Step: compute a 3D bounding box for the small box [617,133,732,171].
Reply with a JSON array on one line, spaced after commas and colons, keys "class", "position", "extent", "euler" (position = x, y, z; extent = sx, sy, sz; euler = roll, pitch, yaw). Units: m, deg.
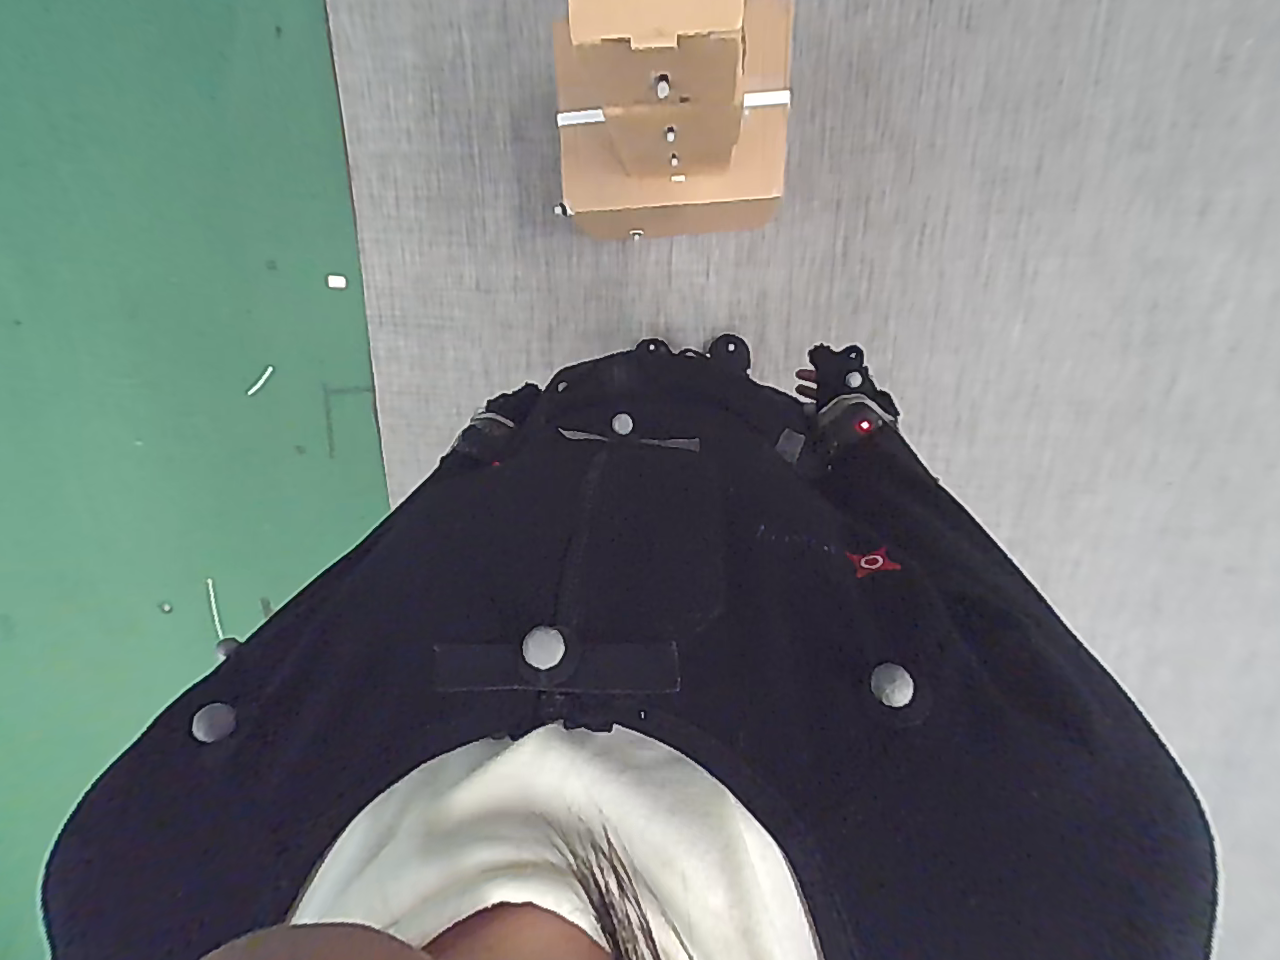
[{"class": "small box", "position": [0.062, -0.610, 0.870], "extent": [0.179, 0.176, 0.168], "euler": [1, 107, 6]}]

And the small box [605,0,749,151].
[{"class": "small box", "position": [0.047, -0.557, 0.715], "extent": [0.179, 0.176, 0.168], "euler": [-2, 107, 8]}]

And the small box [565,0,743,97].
[{"class": "small box", "position": [0.024, -0.520, 0.557], "extent": [0.168, 0.176, 0.179], "euler": [4, 108, 8]}]
